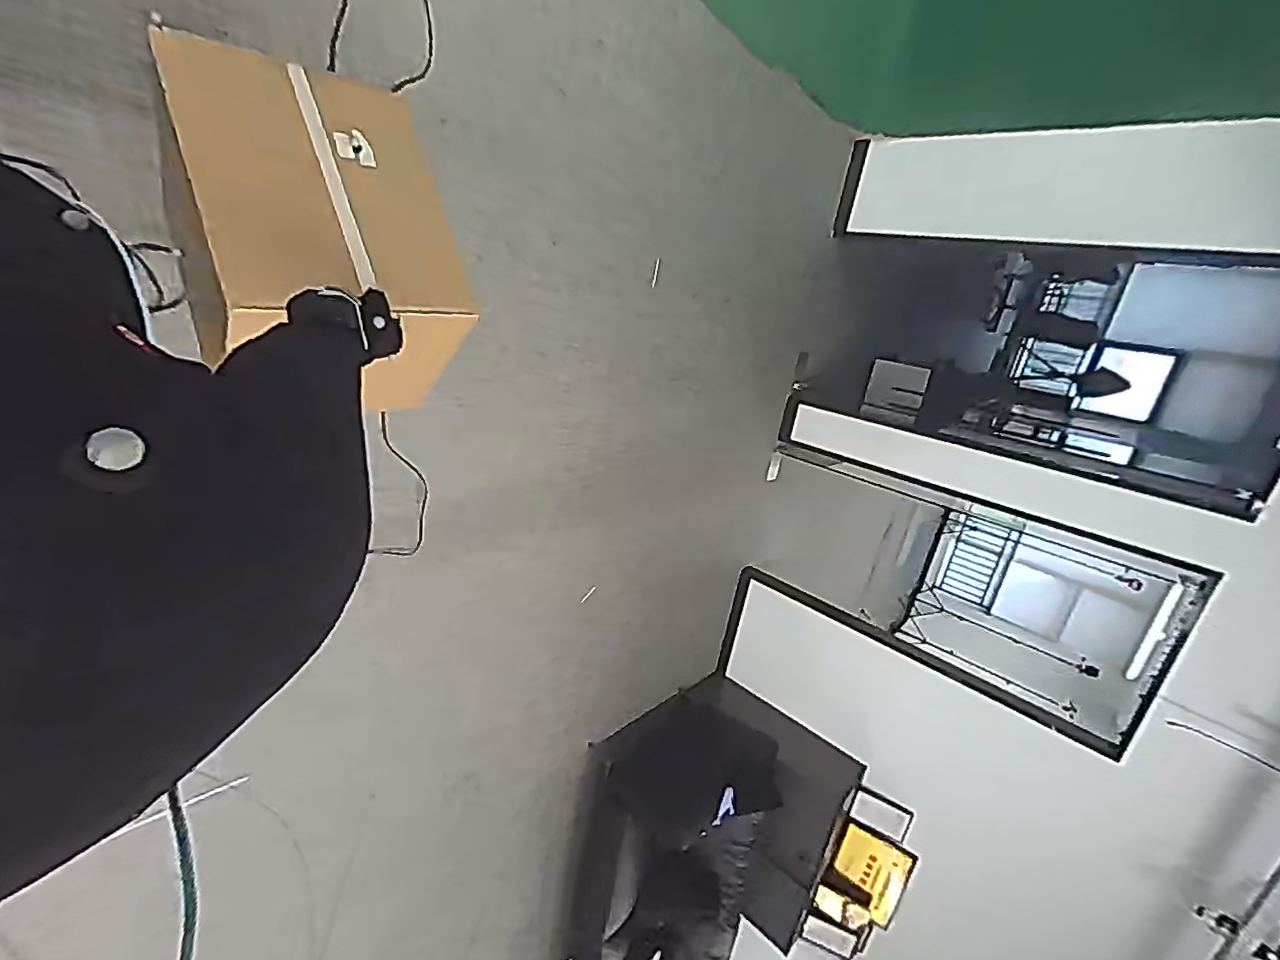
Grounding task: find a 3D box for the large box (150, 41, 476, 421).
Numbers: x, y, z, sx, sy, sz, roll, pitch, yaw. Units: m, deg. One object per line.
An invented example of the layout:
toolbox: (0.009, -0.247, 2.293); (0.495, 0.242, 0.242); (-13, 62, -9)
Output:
large box: (-0.518, -0.352, 0.862); (0.320, 0.320, 0.408); (-14, 77, -42)
